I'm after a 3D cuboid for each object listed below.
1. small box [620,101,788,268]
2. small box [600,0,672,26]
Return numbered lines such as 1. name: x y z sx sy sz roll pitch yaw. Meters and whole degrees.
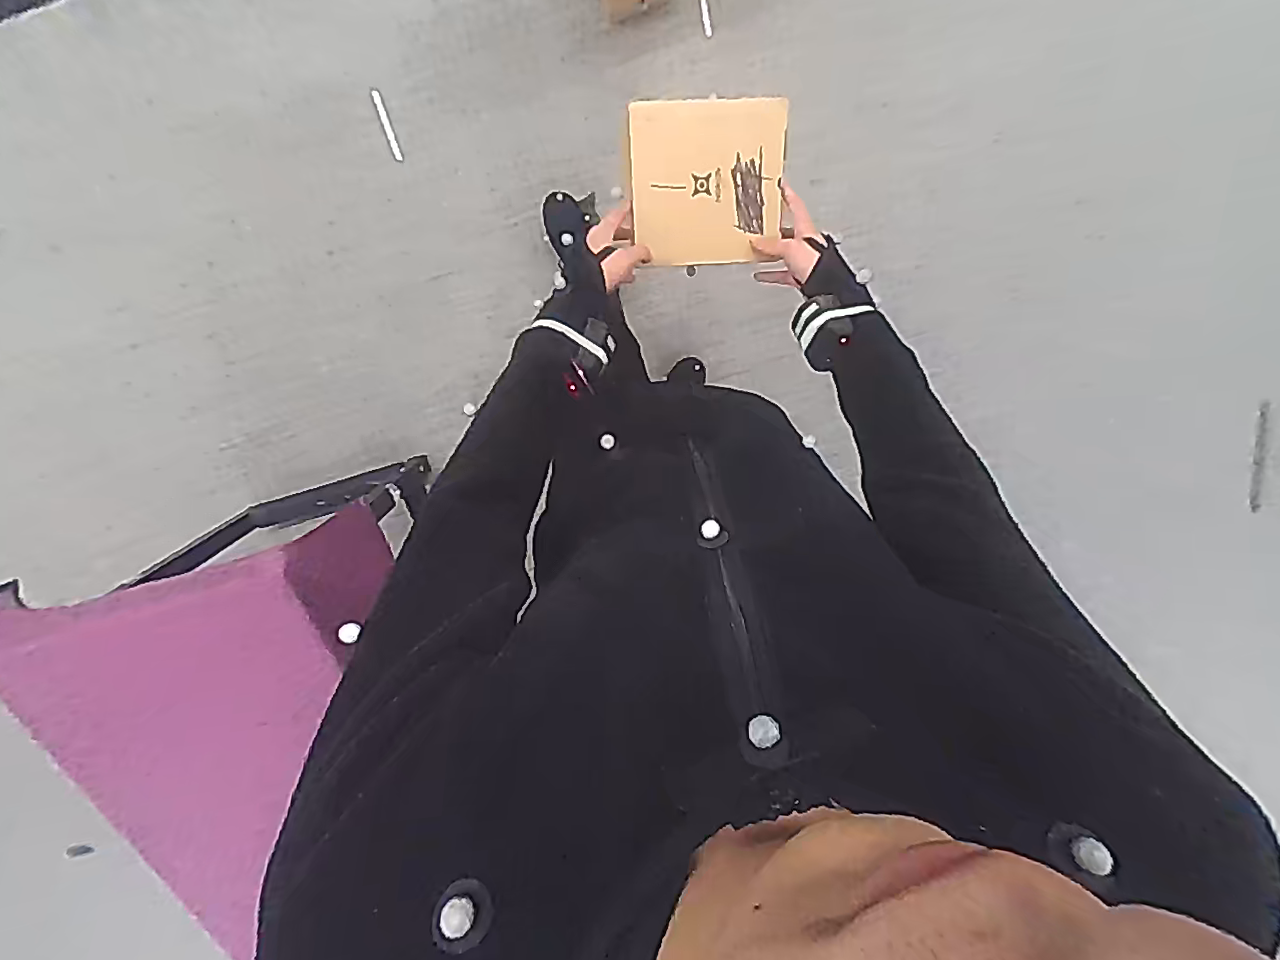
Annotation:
1. small box: 0.070 -0.361 0.681 0.179 0.176 0.168 -4 113 -3
2. small box: -0.022 -1.126 1.149 0.168 0.176 0.179 -19 111 5
